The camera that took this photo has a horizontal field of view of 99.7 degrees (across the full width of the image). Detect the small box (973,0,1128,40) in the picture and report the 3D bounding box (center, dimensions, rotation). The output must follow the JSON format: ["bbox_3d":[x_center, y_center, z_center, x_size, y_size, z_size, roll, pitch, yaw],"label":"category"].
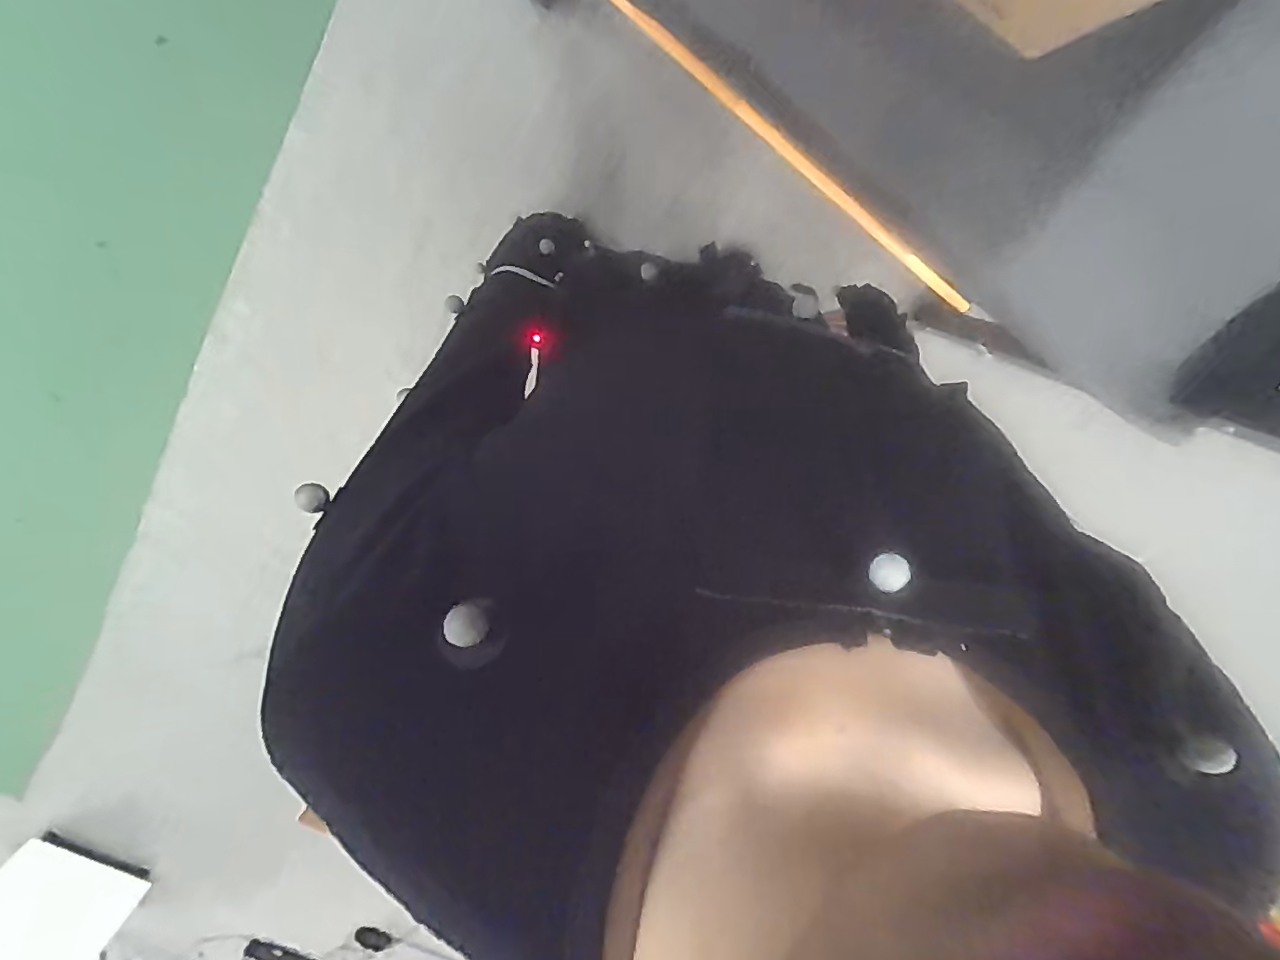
[{"bbox_3d":[0.373,-0.515,0.435,0.168,0.176,0.179,28,113,-11],"label":"small box"}]
